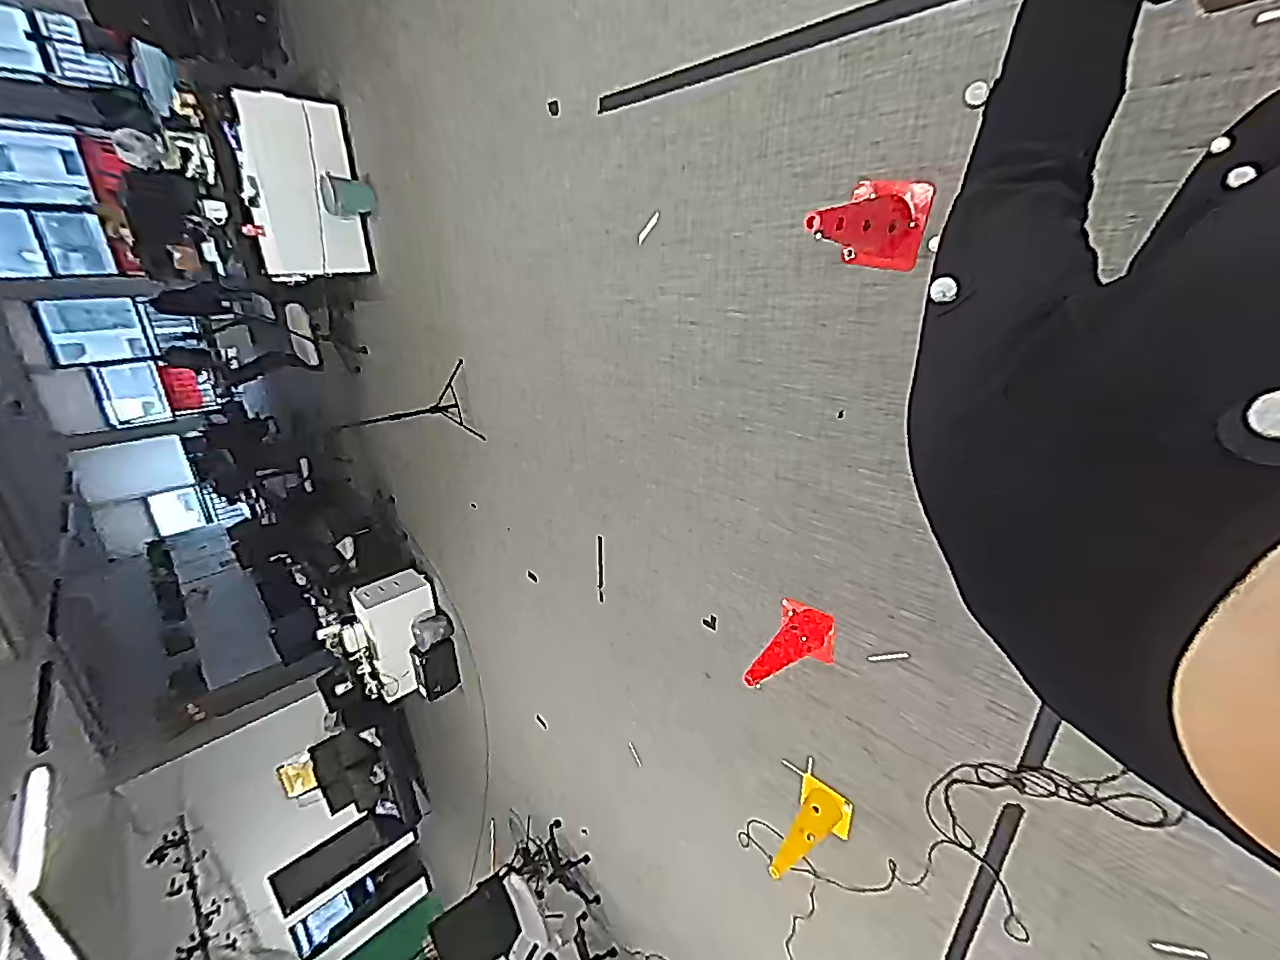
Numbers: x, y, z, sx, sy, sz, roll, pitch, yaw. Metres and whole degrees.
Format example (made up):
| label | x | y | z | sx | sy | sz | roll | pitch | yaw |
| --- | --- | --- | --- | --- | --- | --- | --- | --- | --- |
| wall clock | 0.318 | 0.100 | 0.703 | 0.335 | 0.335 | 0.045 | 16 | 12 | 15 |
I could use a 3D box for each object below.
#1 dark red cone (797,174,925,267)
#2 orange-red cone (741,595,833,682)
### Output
| label | x | y | z | sx | sy | sz | roll | pitch | yaw |
| --- | --- | --- | --- | --- | --- | --- | --- | --- | --- |
| dark red cone | 0.476 | -0.602 | 1.242 | 0.201 | 0.394 | 0.202 | 27 | 125 | 38 |
| orange-red cone | 0.463 | 0.570 | 1.805 | 0.198 | 0.360 | 0.199 | 19 | 121 | 44 |
